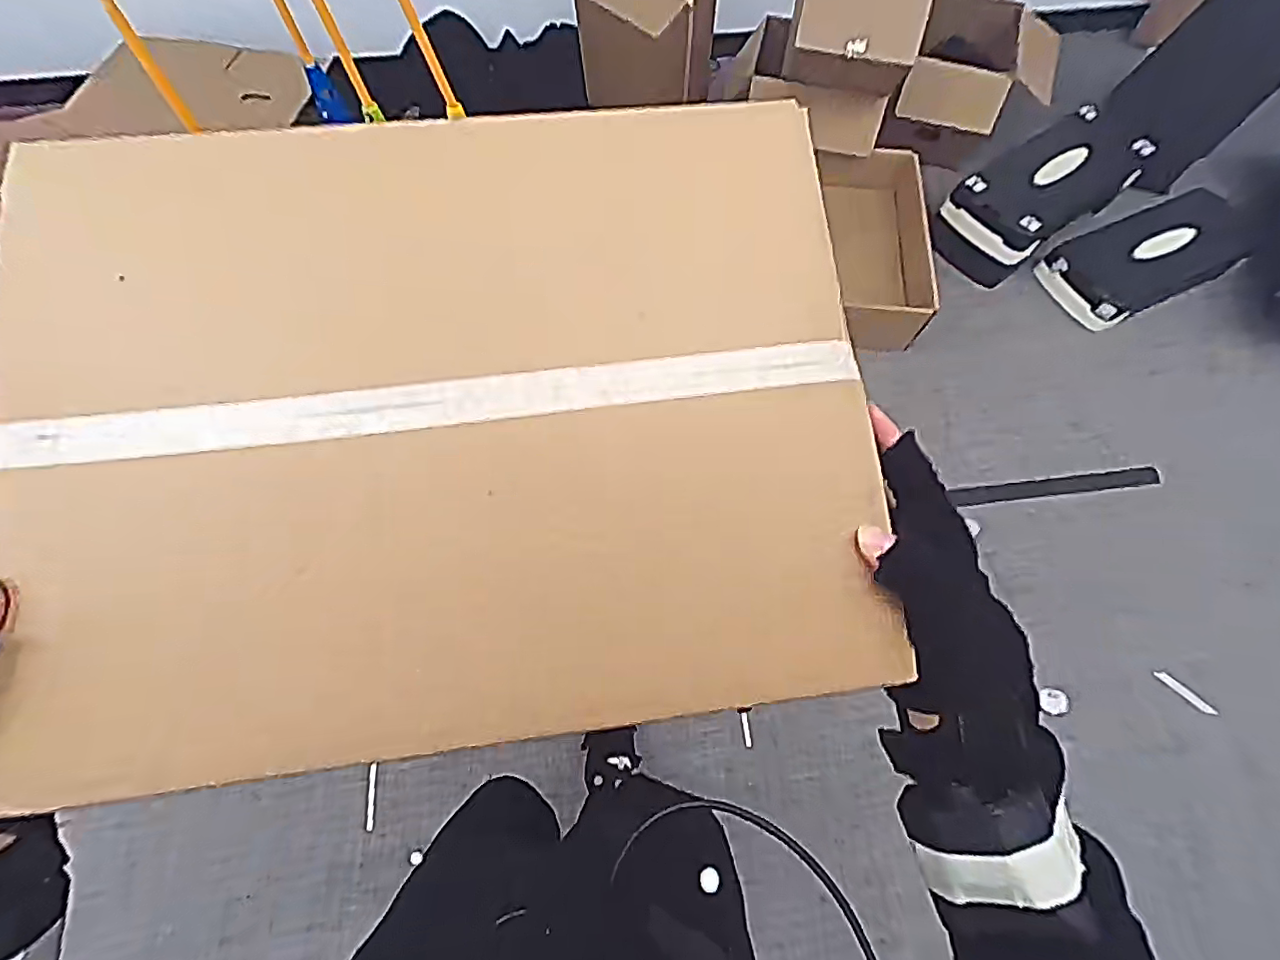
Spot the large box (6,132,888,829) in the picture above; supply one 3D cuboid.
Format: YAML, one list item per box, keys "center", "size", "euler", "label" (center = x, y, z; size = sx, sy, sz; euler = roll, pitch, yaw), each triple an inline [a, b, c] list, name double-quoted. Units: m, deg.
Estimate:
- center: [-0.101, -0.001, 0.417]
  size: [0.408, 0.320, 0.320]
  euler: [-7, 80, -5]
  label: "large box"
